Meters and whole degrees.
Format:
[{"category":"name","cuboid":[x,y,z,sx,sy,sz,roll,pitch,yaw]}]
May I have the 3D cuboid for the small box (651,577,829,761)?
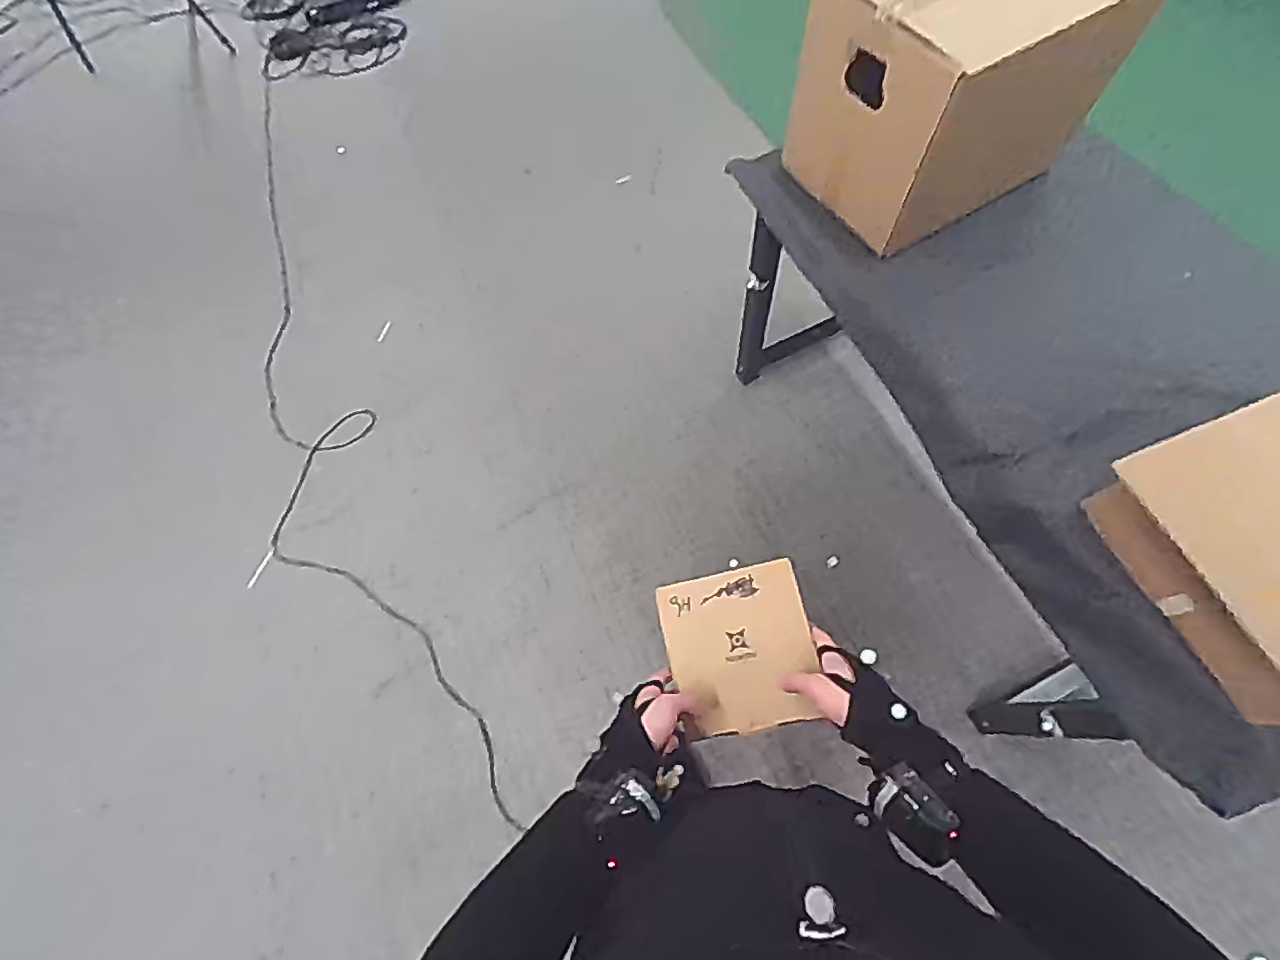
[{"category":"small box","cuboid":[0.123,0.221,0.668,0.168,0.176,0.179,-14,75,10]}]
